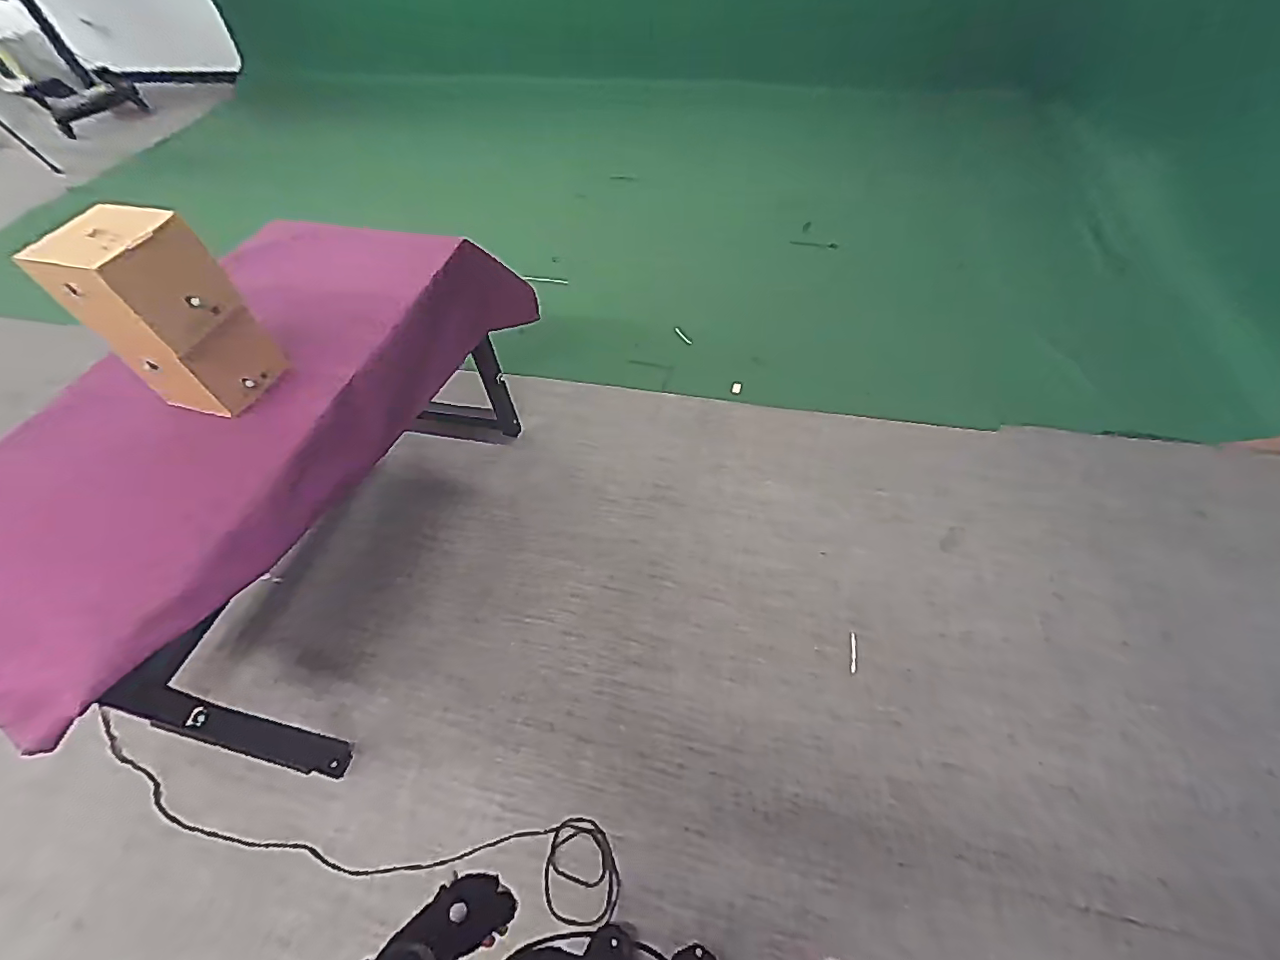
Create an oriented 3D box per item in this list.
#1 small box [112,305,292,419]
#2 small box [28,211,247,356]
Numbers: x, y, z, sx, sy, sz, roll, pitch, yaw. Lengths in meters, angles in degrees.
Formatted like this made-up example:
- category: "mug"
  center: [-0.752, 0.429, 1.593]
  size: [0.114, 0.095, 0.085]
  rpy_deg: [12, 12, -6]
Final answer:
- category: "small box"
  center: [-0.845, -0.242, 1.063]
  size: [0.179, 0.176, 0.168]
  rpy_deg: [13, 56, 13]
- category: "small box"
  center: [-0.841, -0.334, 0.926]
  size: [0.179, 0.176, 0.168]
  rpy_deg: [11, 56, 12]
